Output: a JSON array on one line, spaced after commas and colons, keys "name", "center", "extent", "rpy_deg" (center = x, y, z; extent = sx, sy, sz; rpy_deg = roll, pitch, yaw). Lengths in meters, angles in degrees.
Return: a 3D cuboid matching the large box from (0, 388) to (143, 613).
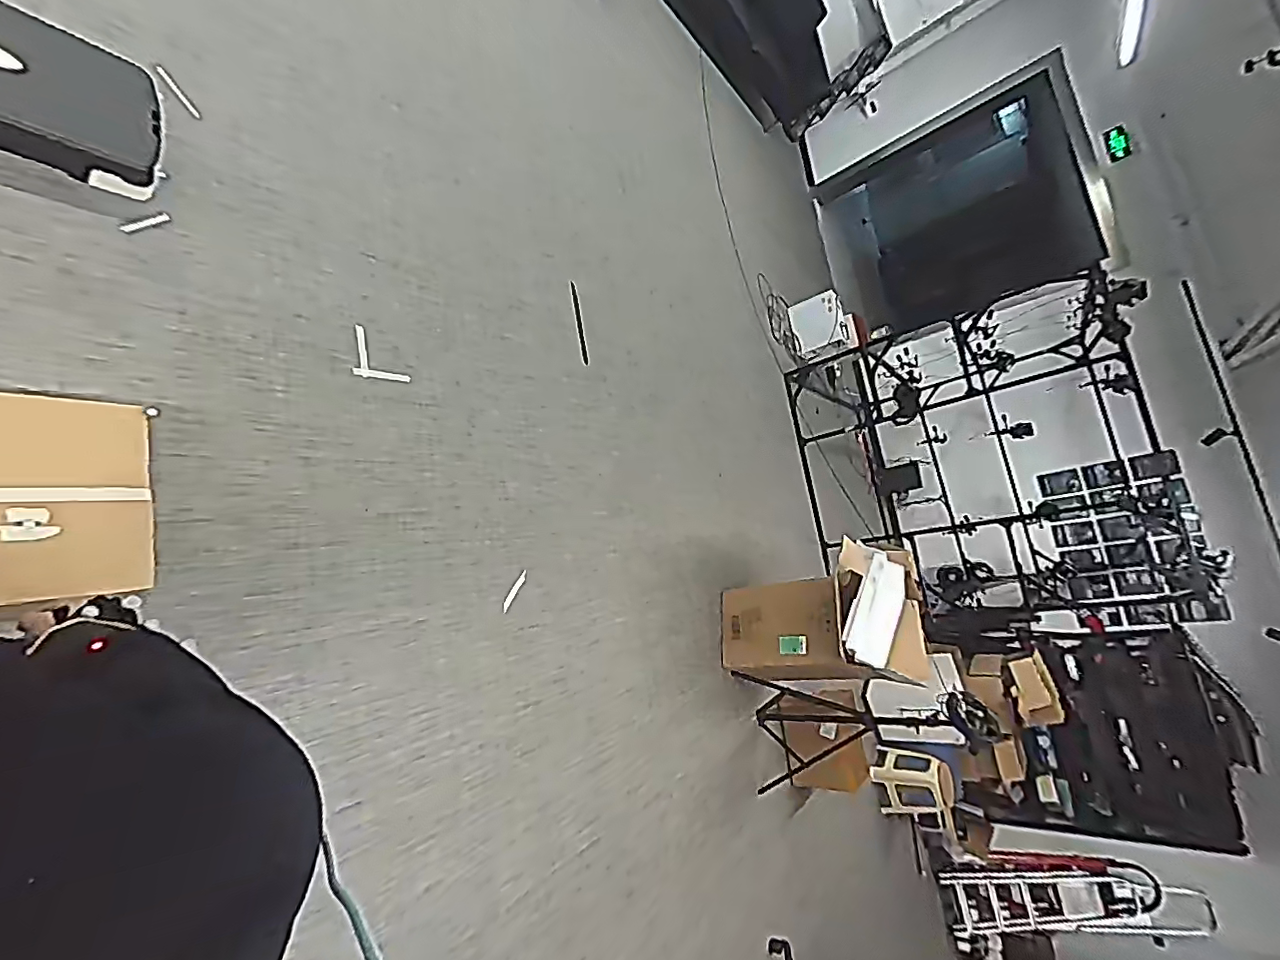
[{"name": "large box", "center": [-1.065, 0.048, 0.814], "extent": [0.408, 0.320, 0.320], "rpy_deg": [2, 76, -55]}]
